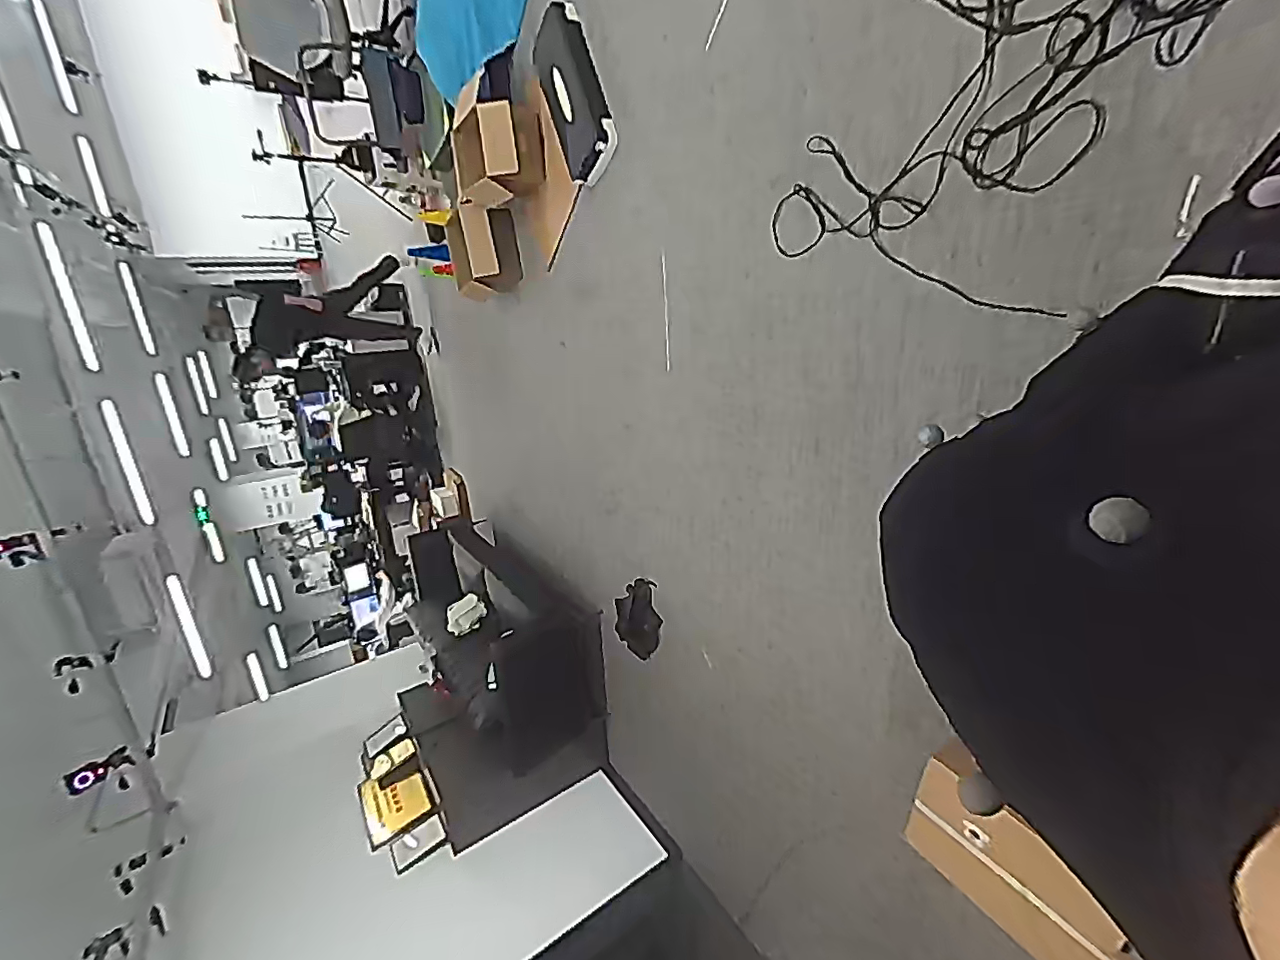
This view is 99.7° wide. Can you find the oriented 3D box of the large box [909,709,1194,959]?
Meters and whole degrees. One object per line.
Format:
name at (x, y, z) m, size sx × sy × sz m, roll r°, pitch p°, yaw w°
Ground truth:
large box at (0.926, 0.832, 1.257) m, size 0.408 × 0.320 × 0.320 m, roll 32°, pitch 128°, yaw 50°
